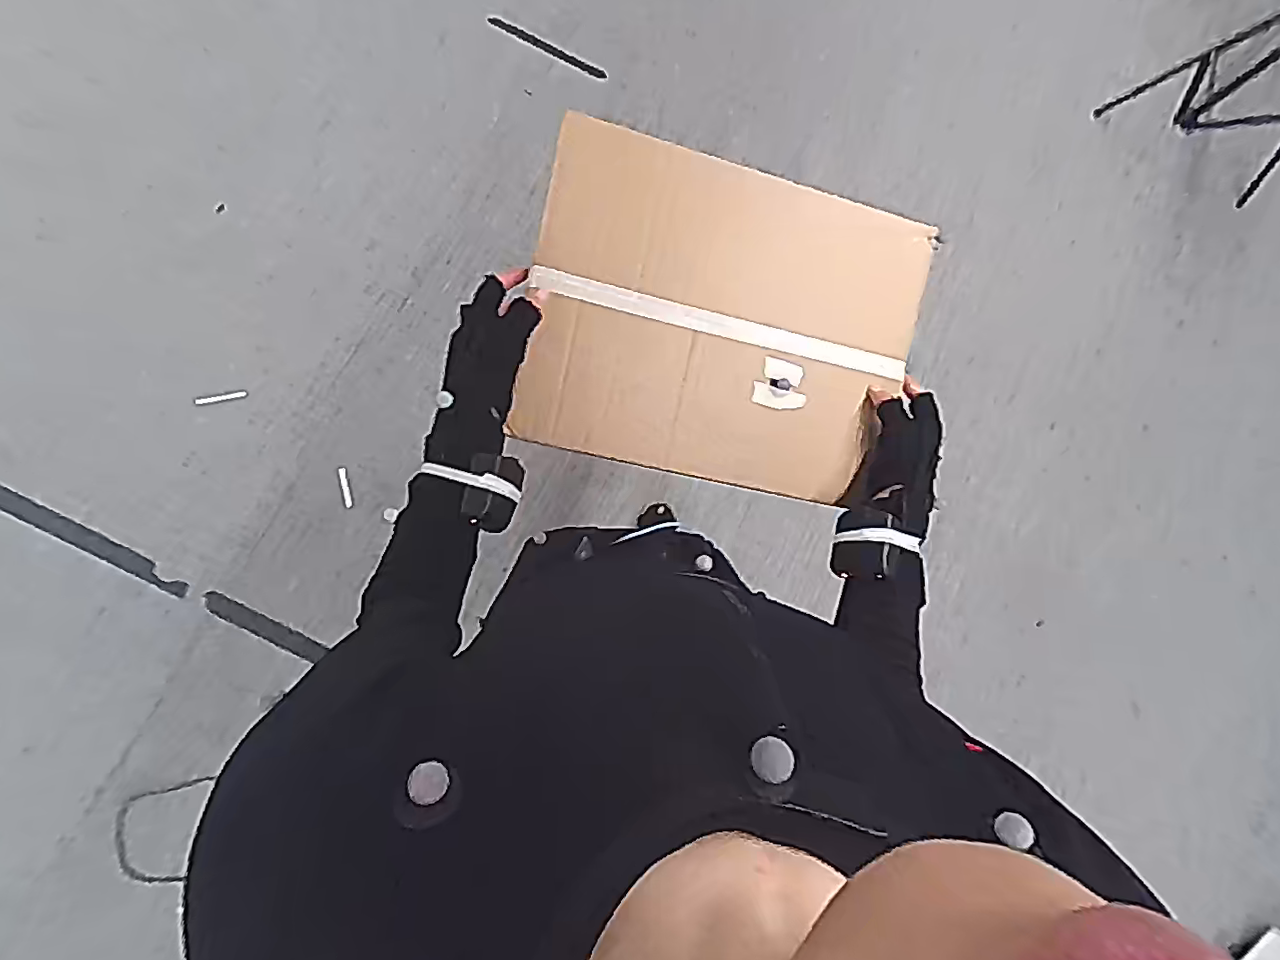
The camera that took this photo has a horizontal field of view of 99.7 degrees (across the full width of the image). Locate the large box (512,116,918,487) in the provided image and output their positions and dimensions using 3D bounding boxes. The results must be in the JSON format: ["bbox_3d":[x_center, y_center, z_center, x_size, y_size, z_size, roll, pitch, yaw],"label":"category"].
[{"bbox_3d":[0.062,-0.189,0.716,0.408,0.320,0.320,11,95,-11],"label":"large box"}]
